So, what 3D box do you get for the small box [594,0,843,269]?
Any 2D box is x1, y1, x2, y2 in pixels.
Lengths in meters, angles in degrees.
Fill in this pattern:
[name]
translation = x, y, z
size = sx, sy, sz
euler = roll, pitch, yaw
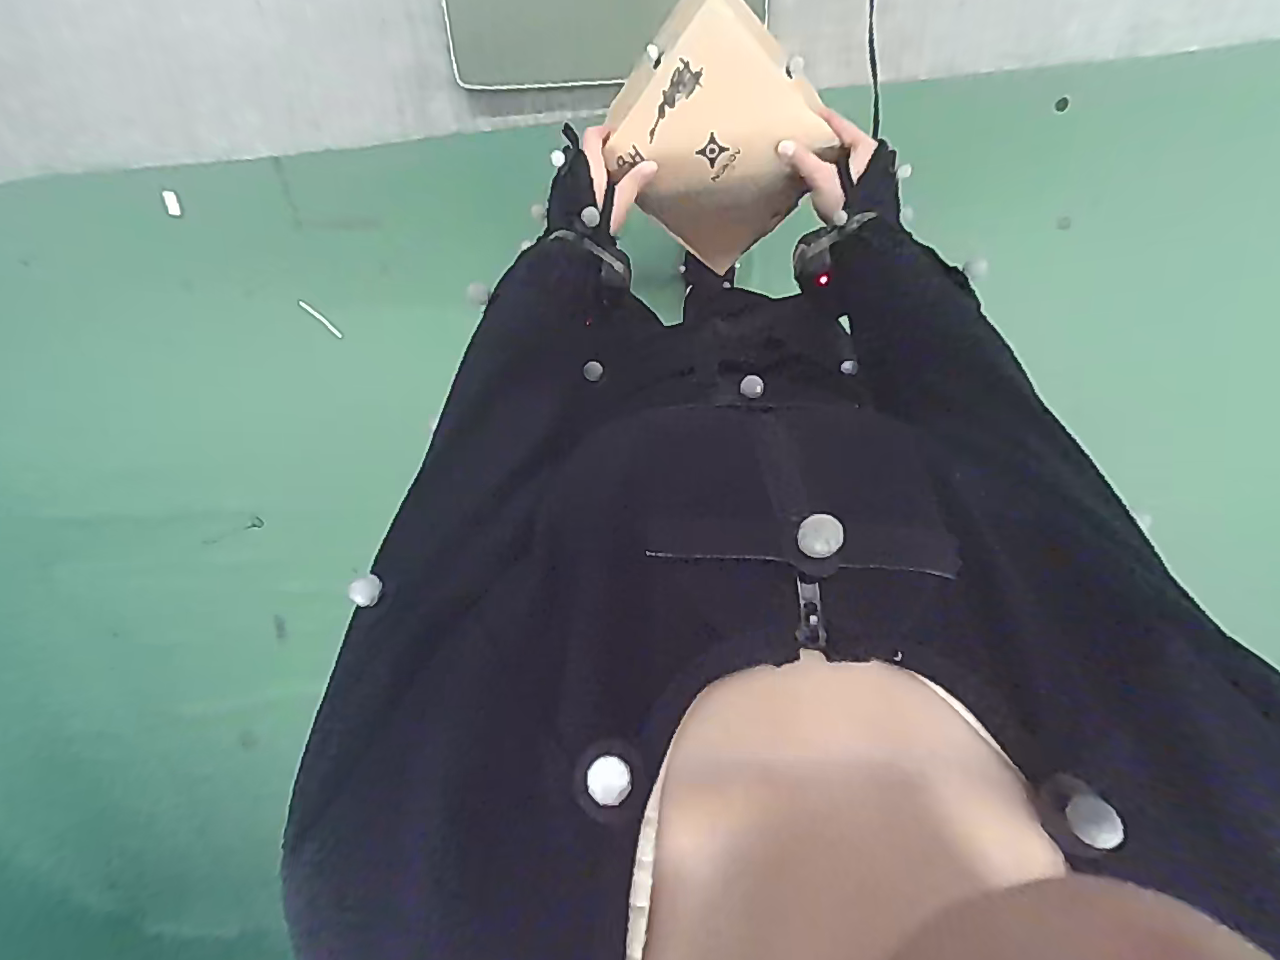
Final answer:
[small box]
translation = 0.076, -0.365, 0.555
size = 0.179, 0.176, 0.168
euler = 31, 132, -28
